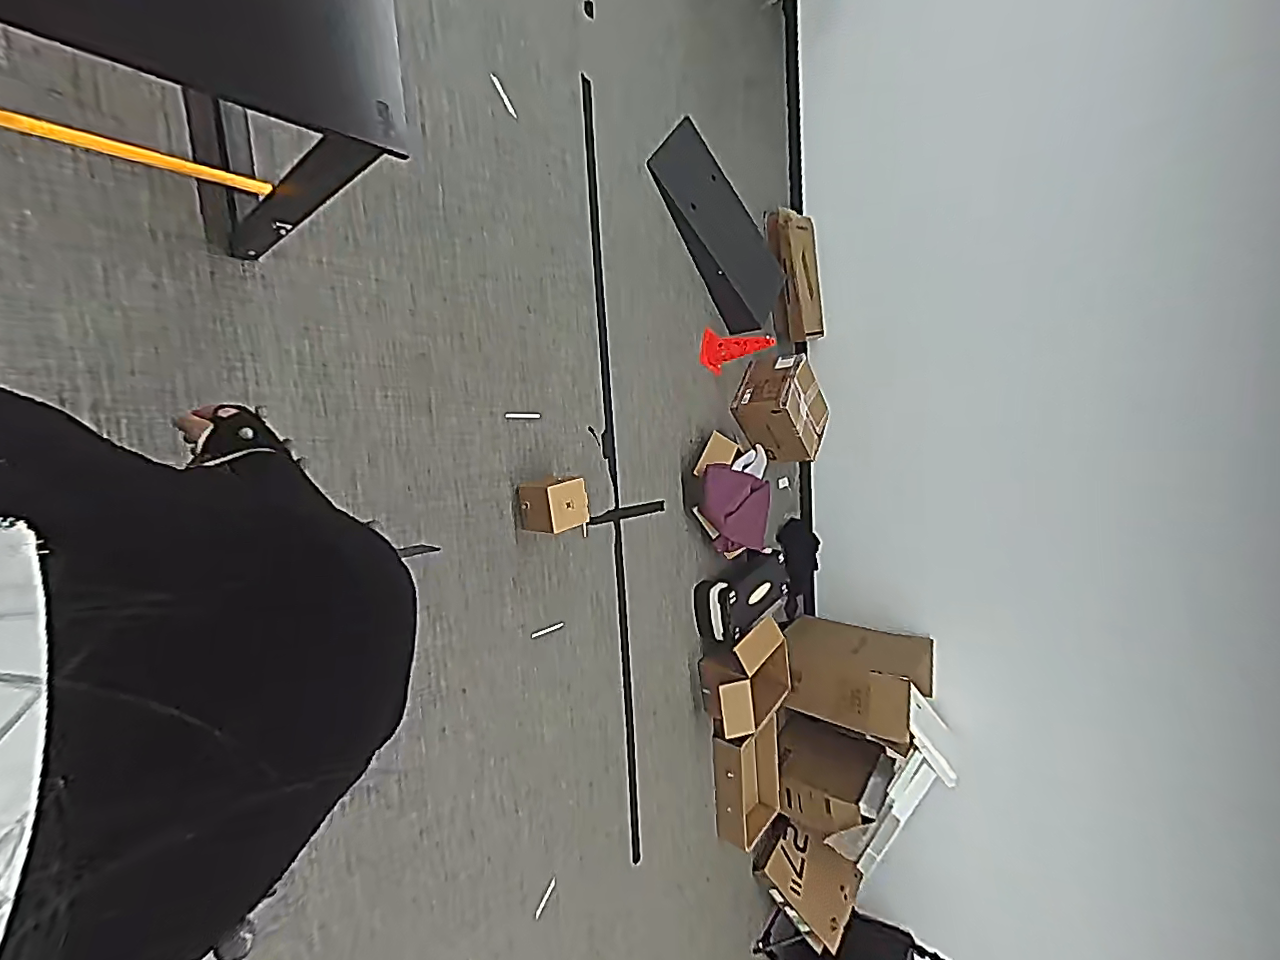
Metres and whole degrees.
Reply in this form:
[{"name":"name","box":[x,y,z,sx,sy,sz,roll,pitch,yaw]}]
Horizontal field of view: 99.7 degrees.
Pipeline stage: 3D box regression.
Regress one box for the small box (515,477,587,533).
[{"name":"small box","box":[-0.316,0.084,1.923,0.179,0.176,0.168,-18,104,-47]}]
